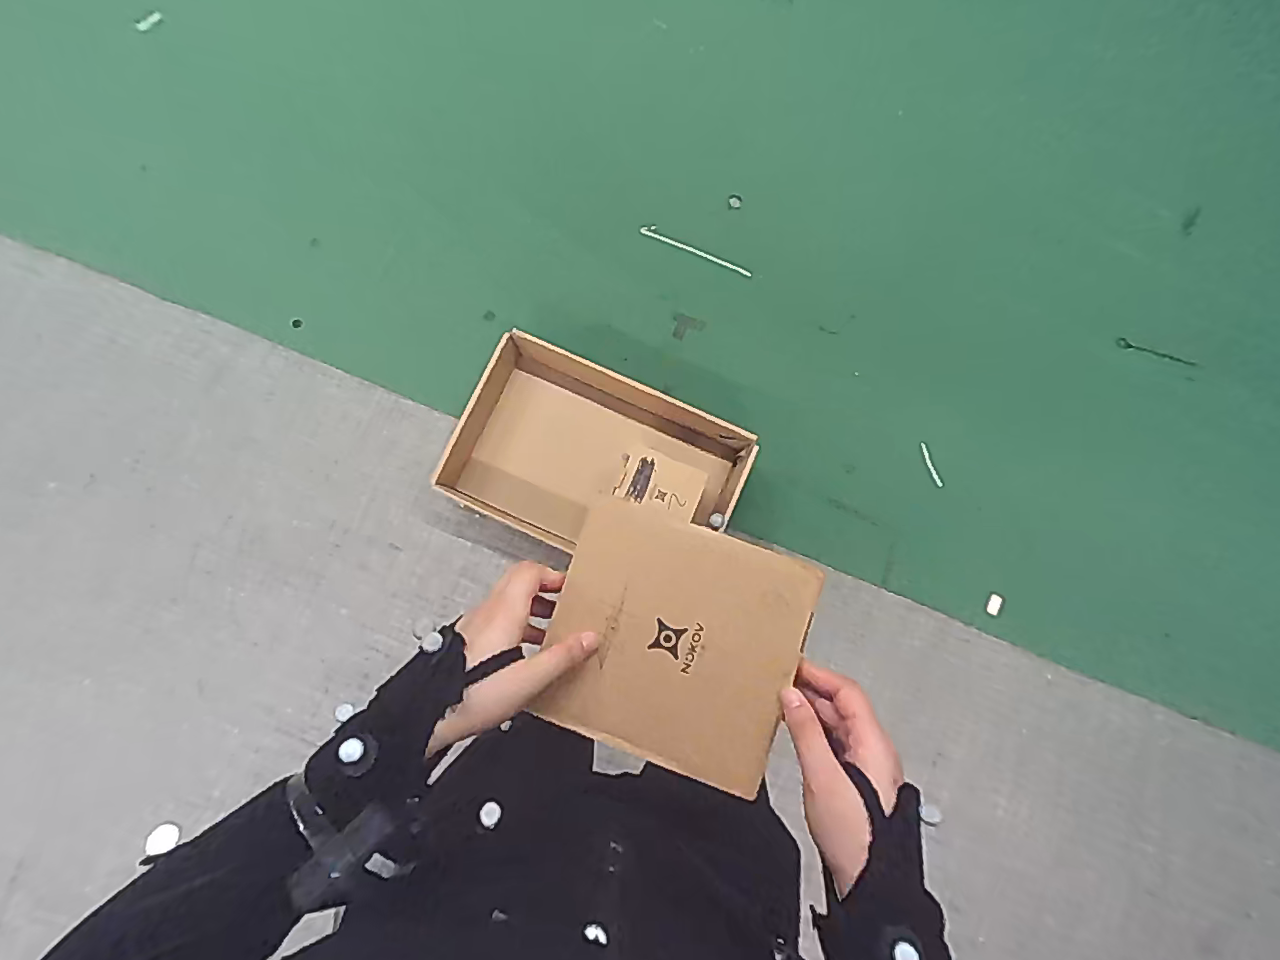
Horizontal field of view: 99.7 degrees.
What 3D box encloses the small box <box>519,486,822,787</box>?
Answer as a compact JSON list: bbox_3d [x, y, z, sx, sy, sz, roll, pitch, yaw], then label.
[{"bbox_3d":[0.026,0.114,0.456,0.179,0.176,0.168,17,84,6],"label":"small box"}]
